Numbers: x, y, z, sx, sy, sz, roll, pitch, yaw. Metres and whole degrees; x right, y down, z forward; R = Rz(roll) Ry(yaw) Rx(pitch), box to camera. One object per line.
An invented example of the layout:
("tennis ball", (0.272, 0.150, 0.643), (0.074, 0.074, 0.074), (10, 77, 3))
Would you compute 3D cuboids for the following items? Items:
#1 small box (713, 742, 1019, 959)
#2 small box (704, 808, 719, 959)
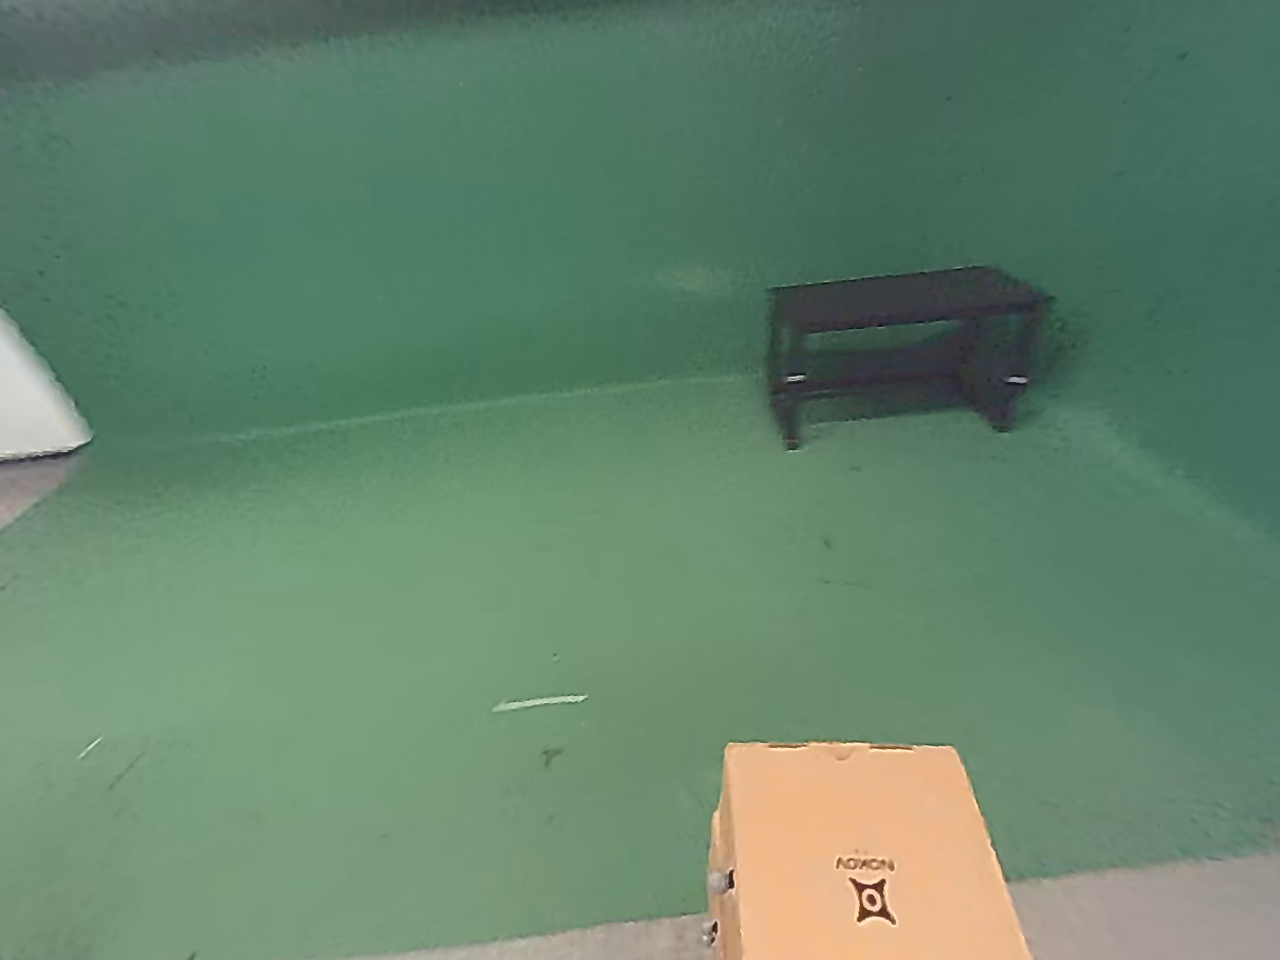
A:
("small box", (0.140, 0.308, 0.388), (0.168, 0.176, 0.179), (-2, 44, 4))
("small box", (0.147, 0.425, 0.499), (0.168, 0.176, 0.179), (-3, 43, 4))
